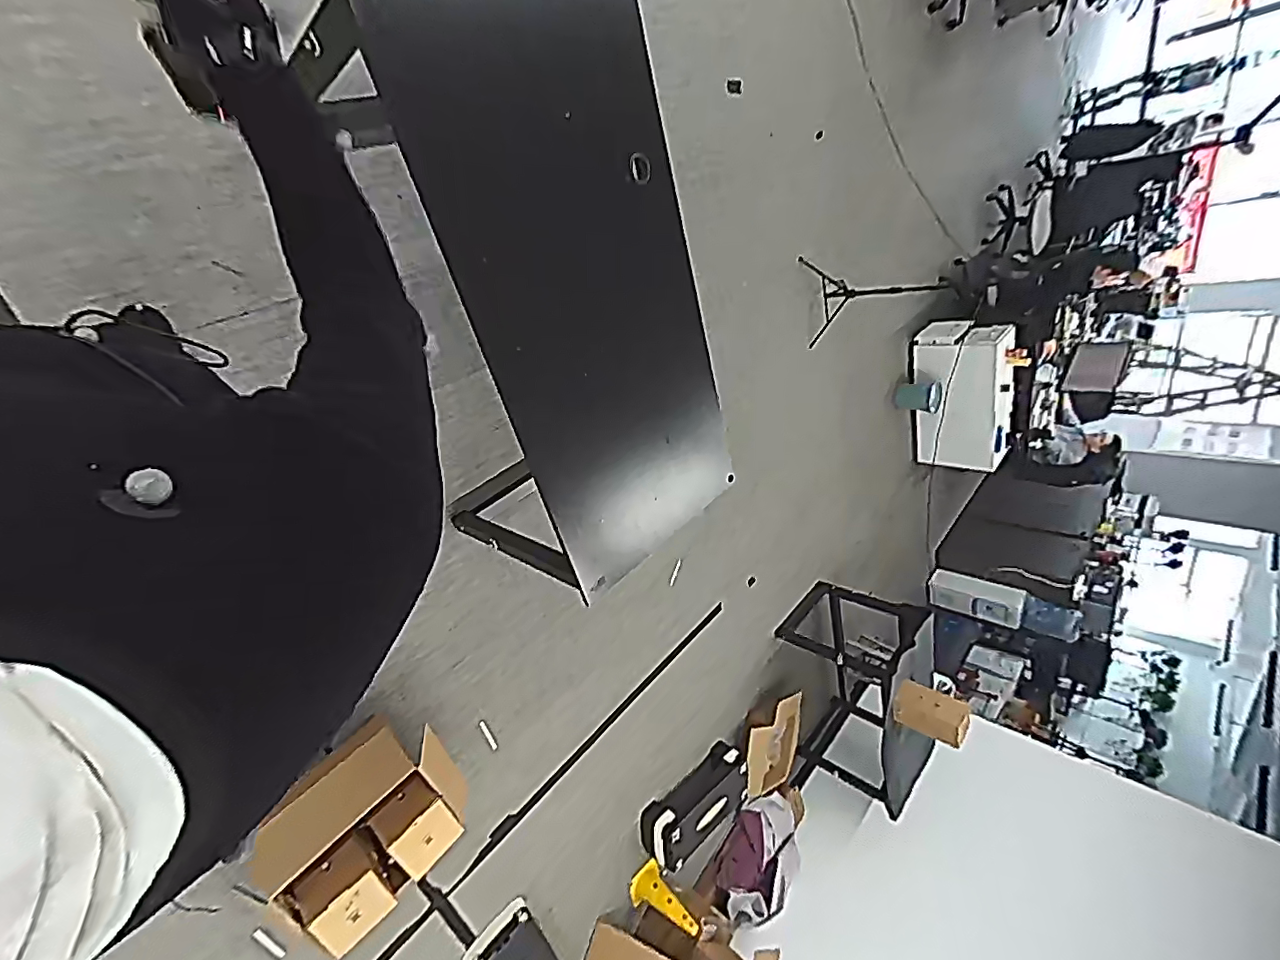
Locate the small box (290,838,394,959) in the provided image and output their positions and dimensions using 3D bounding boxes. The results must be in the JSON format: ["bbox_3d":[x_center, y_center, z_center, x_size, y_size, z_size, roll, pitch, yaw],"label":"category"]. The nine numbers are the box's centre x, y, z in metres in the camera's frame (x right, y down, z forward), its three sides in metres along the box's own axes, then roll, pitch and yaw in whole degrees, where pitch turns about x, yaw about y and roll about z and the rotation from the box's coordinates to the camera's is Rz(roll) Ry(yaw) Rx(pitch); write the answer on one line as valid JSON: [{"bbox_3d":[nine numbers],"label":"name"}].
[{"bbox_3d":[-0.798,1.116,1.450,0.168,0.176,0.179,-34,122,-35],"label":"small box"}]
